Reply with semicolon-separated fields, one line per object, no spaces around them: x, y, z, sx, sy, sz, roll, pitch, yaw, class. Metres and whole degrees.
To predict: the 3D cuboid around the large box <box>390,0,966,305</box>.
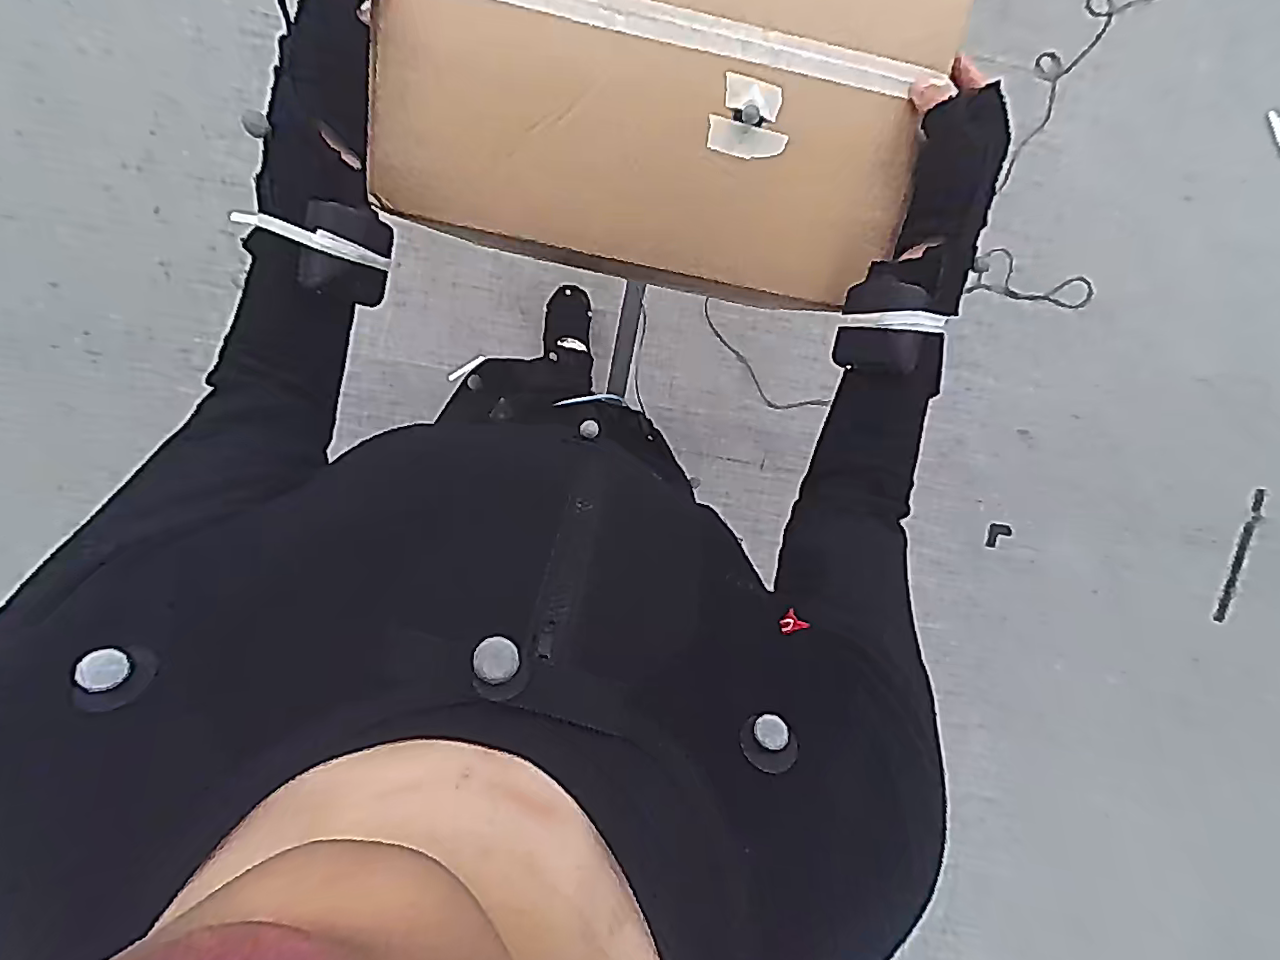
0.019;-0.365;0.529;0.408;0.320;0.320;10;109;-6;large box
